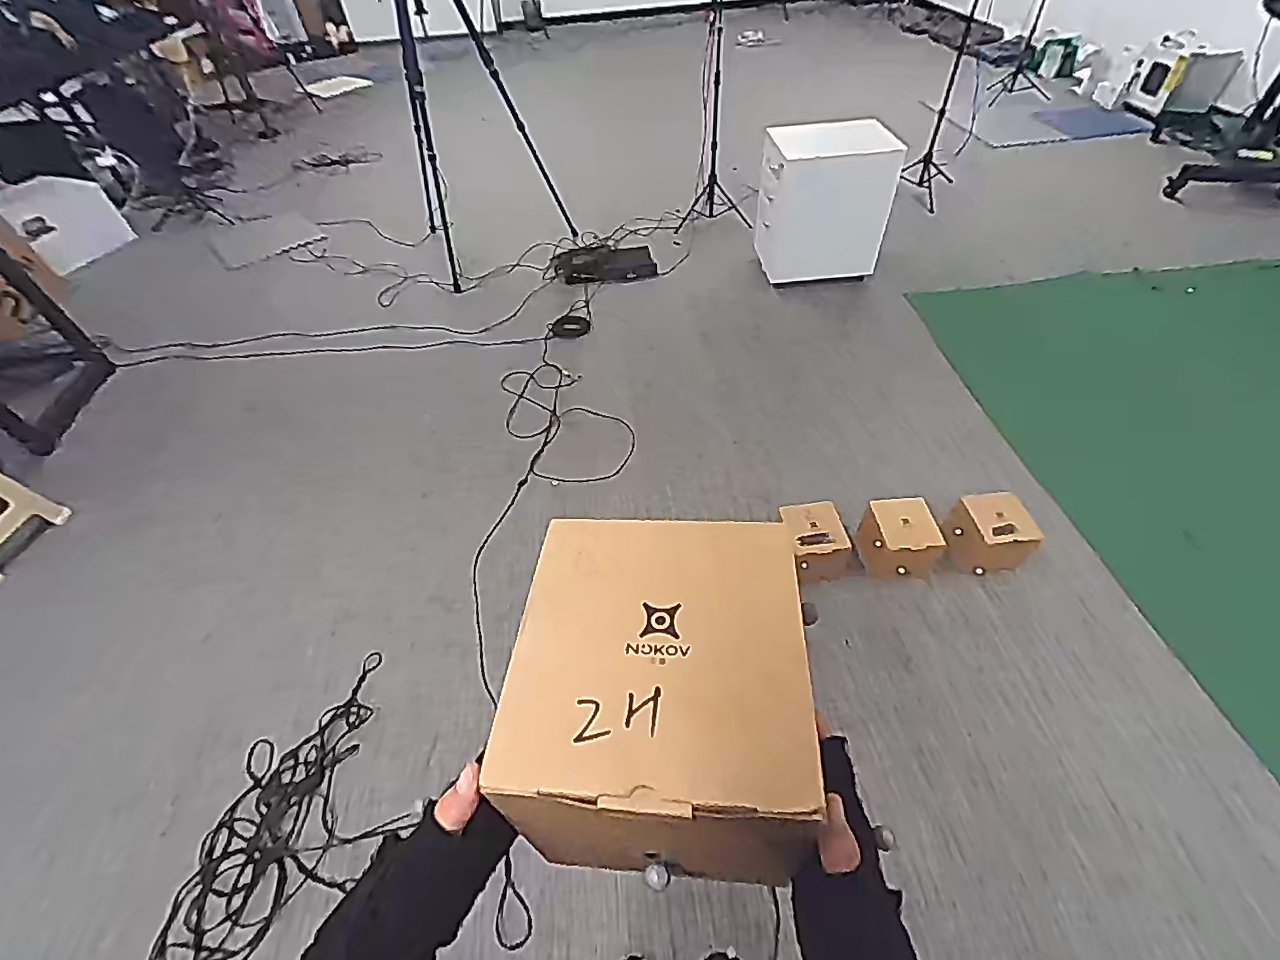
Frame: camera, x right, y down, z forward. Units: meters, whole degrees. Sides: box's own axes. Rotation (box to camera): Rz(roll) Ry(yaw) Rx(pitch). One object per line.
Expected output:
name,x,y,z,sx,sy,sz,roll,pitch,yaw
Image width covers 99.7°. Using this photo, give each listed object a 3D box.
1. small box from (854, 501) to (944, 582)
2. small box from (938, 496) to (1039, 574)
small box,0.768,0.186,1.627,0.168,0.176,0.179,-5,49,-1
small box,1.036,0.171,1.624,0.168,0.176,0.179,-5,49,-1
